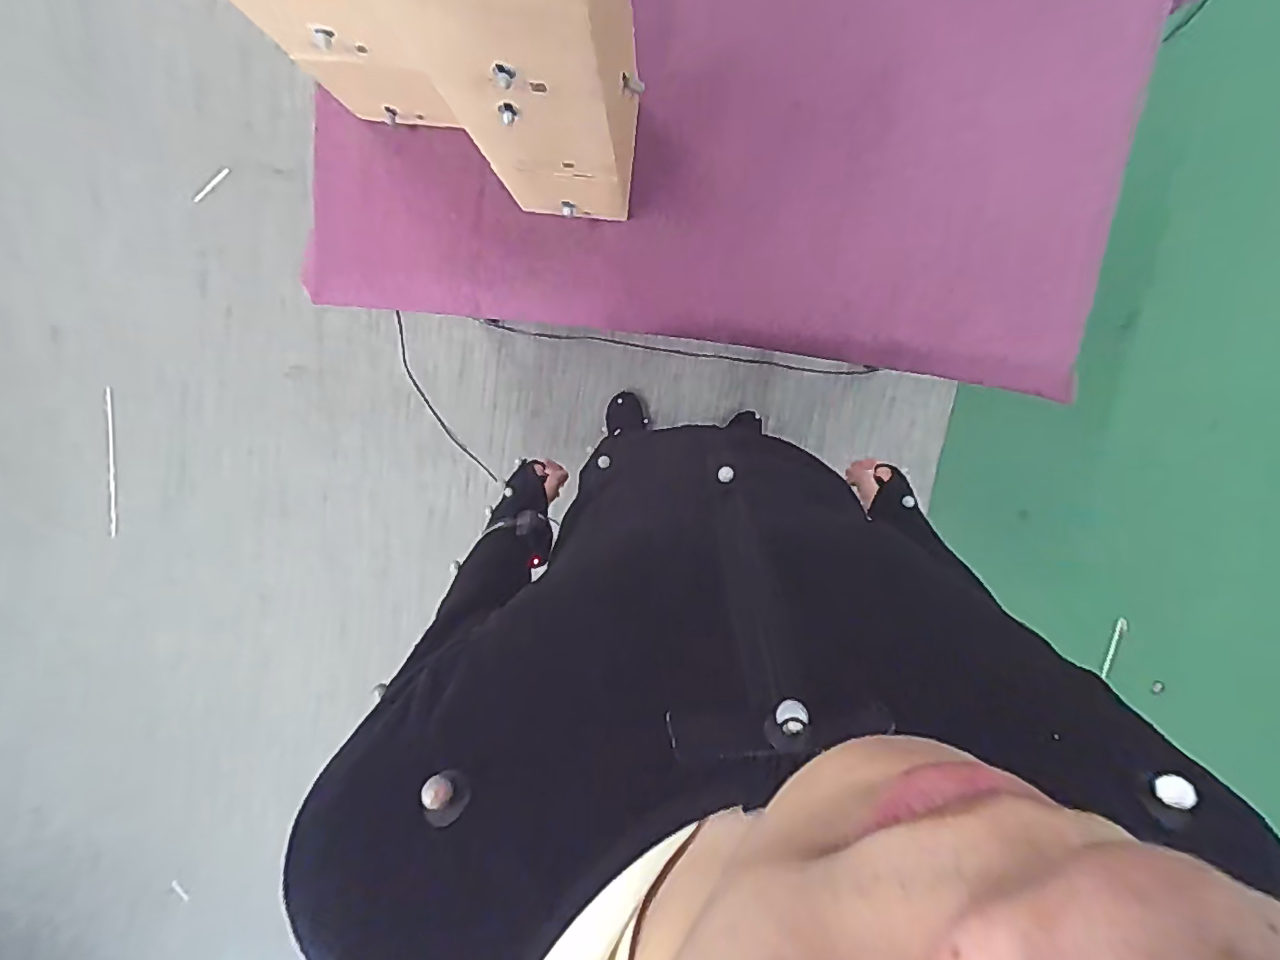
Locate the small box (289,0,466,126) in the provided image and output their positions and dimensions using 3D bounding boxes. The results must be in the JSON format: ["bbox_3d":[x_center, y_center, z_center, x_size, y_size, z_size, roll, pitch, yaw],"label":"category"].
[{"bbox_3d":[-0.340,-0.618,0.730,0.168,0.176,0.179,6,100,2],"label":"small box"}]

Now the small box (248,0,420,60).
[{"bbox_3d":[-0.346,-0.593,0.569,0.168,0.176,0.179,5,100,2],"label":"small box"}]

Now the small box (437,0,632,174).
[{"bbox_3d":[-0.100,-0.462,0.578,0.168,0.176,0.179,6,99,2],"label":"small box"}]

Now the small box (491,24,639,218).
[{"bbox_3d":[-0.093,-0.485,0.741,0.168,0.176,0.179,7,100,2],"label":"small box"}]
